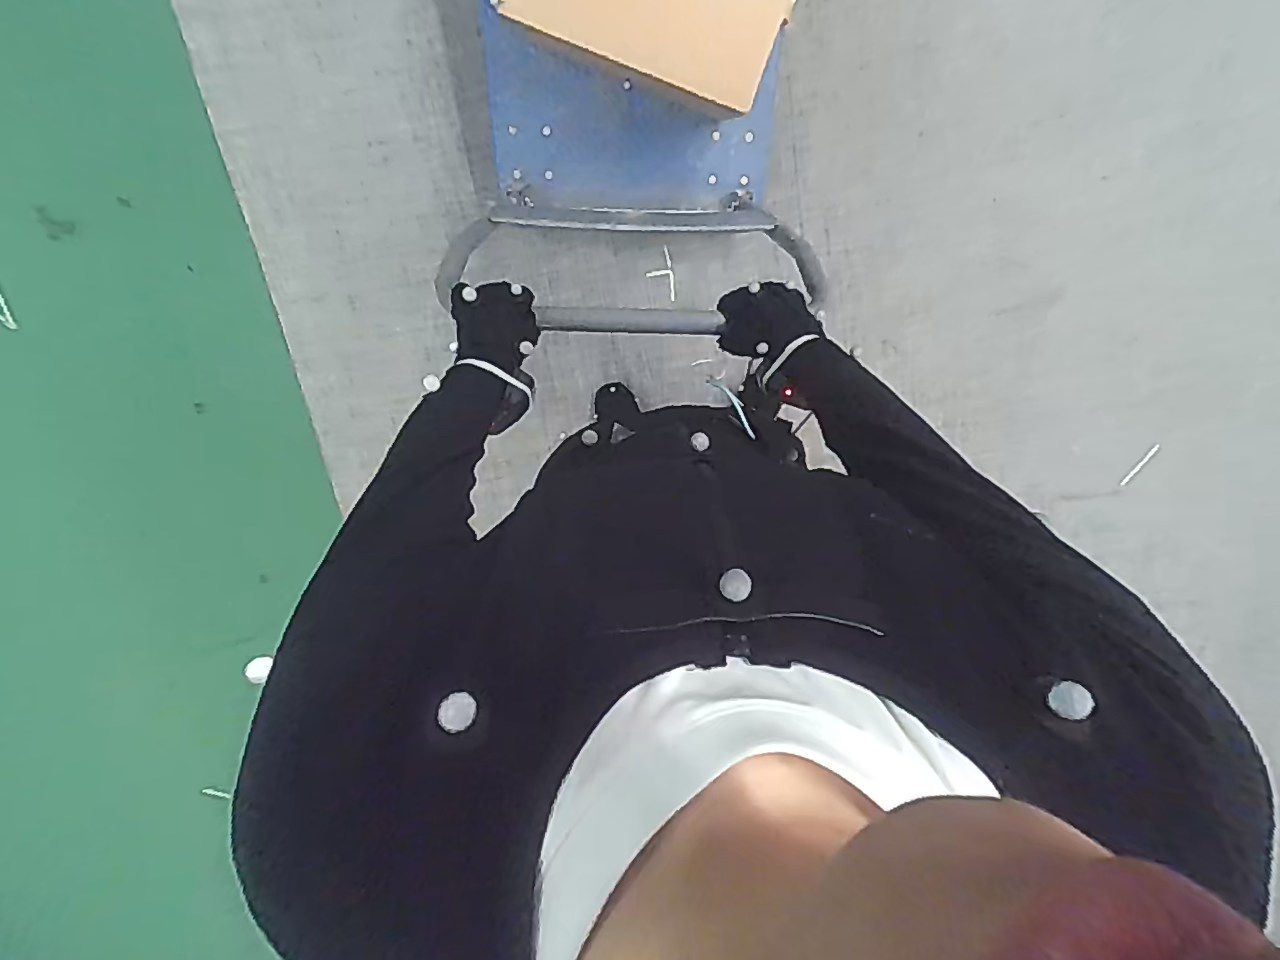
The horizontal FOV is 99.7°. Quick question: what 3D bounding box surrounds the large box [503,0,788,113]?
[{"bbox_3d":[0.034,-0.834,0.873,0.408,0.320,0.320,15,121,-8],"label":"large box"}]
